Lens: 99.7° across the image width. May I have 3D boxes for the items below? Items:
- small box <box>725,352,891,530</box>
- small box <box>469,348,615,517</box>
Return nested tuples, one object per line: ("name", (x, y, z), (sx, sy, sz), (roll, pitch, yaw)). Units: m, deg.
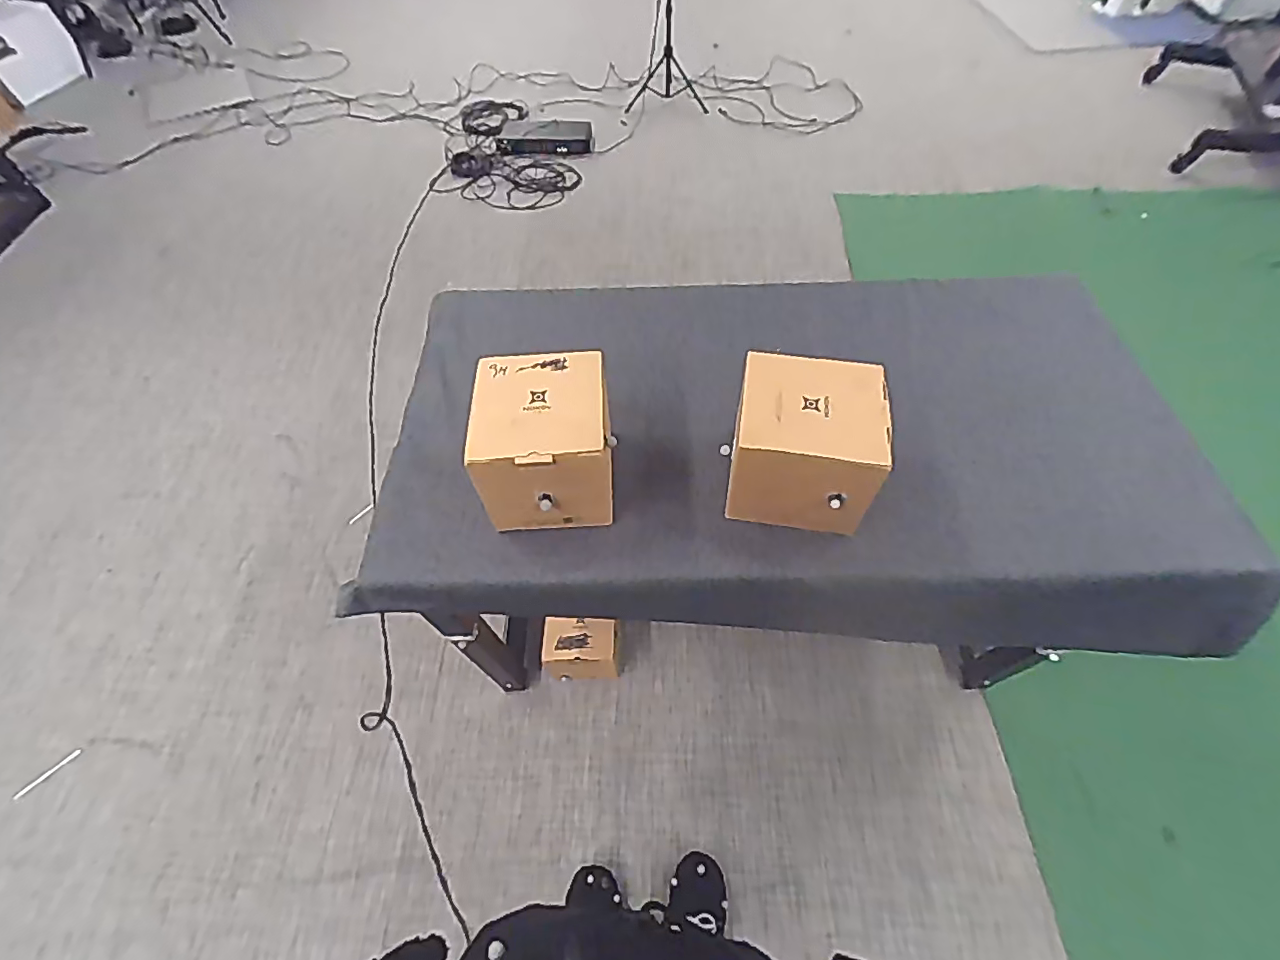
("small box", (0.218, -0.047, 0.733), (0.179, 0.176, 0.168), (8, 57, 8))
("small box", (-0.122, -0.057, 0.746), (0.168, 0.176, 0.179), (-2, 57, -1))
